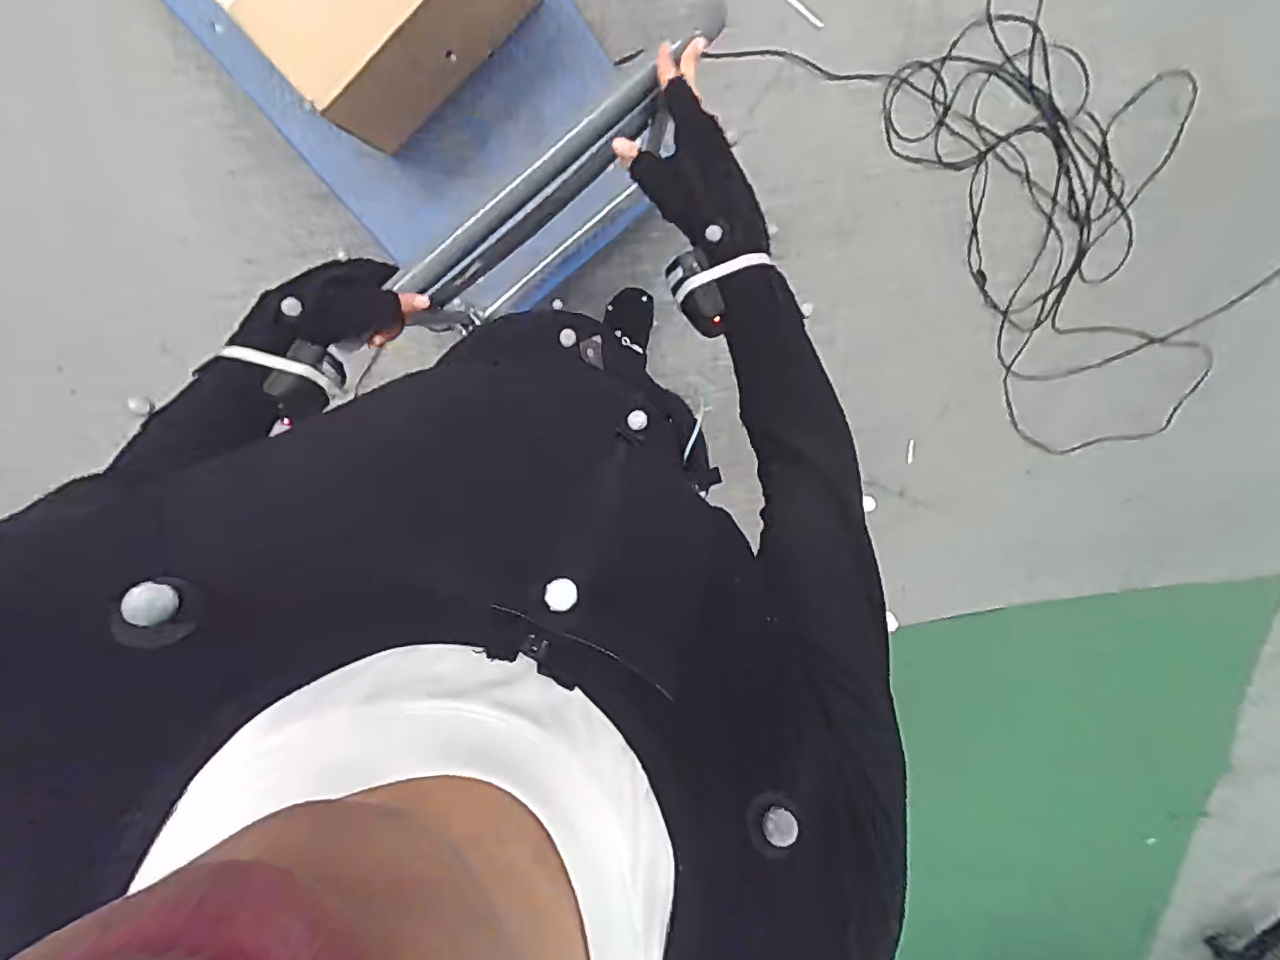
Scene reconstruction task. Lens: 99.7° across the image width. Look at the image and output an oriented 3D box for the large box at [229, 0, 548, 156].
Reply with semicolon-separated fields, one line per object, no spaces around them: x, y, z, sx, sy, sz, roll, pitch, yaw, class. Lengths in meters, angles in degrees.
-0.391;-0.801;0.834;0.408;0.320;0.320;-40;109;11;large box
